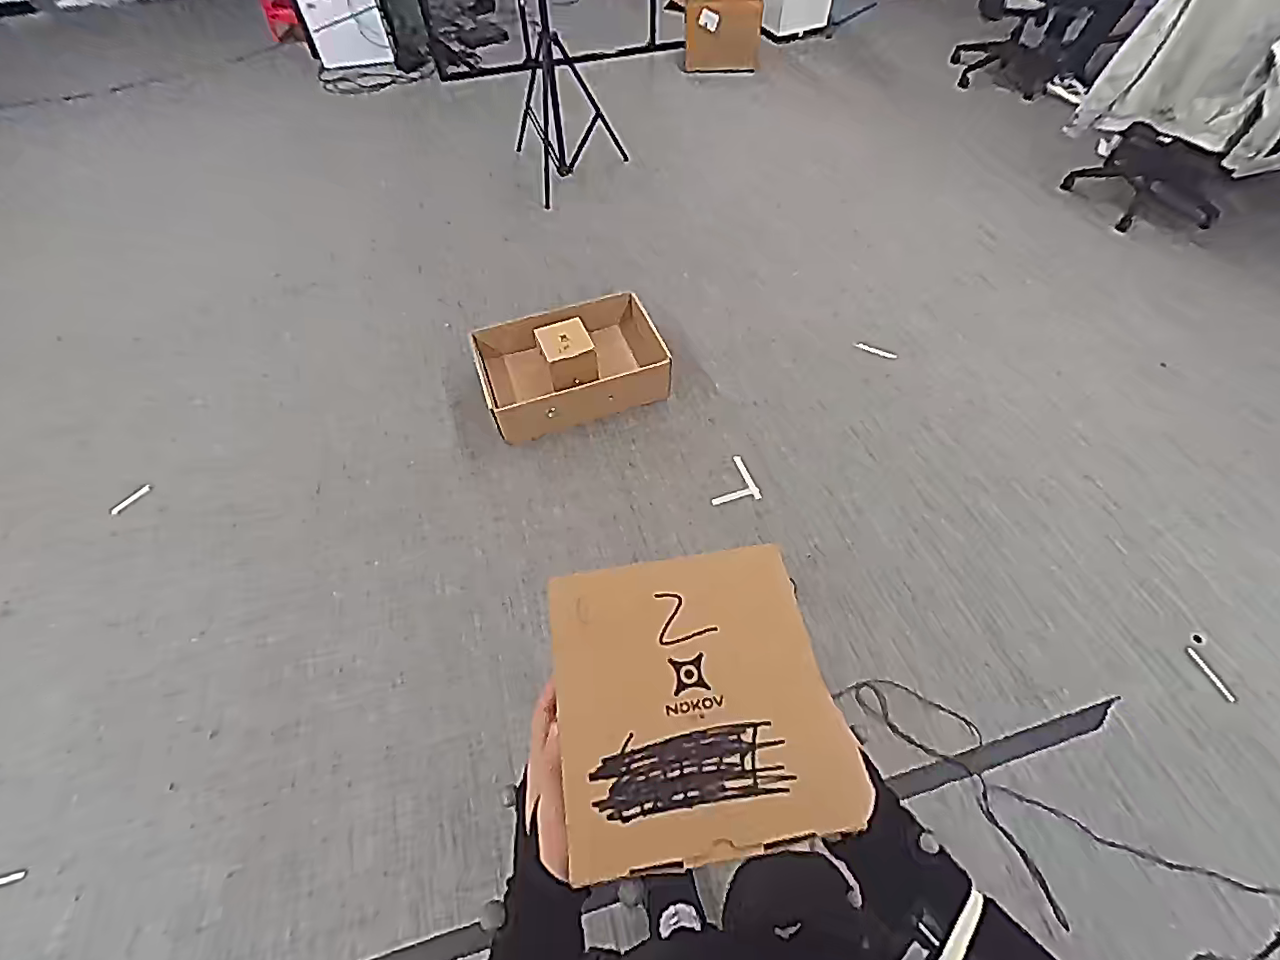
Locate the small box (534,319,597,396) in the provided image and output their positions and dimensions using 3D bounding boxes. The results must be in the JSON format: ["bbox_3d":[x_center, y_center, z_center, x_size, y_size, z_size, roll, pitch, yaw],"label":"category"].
[{"bbox_3d":[-0.257,-0.424,1.882,0.168,0.176,0.179,-20,58,-11],"label":"small box"}]
